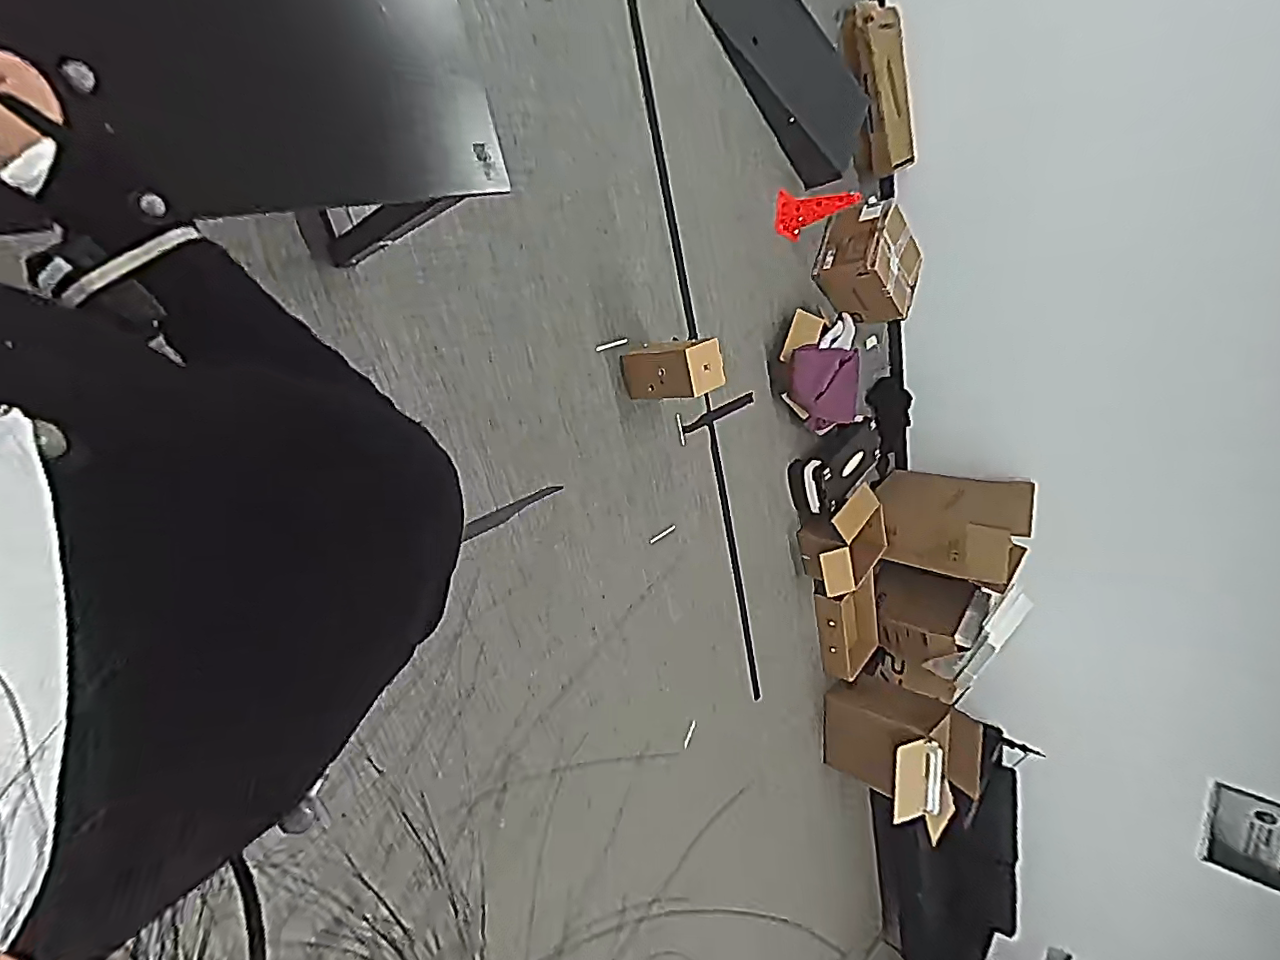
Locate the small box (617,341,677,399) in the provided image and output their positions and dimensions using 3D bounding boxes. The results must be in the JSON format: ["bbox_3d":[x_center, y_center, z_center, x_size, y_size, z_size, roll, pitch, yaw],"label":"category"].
[{"bbox_3d":[0.041,-0.409,2.008,0.168,0.176,0.179,-31,117,-37],"label":"small box"}]

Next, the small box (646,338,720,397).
[{"bbox_3d":[0.149,-0.392,1.888,0.179,0.176,0.168,-30,114,-36],"label":"small box"}]
